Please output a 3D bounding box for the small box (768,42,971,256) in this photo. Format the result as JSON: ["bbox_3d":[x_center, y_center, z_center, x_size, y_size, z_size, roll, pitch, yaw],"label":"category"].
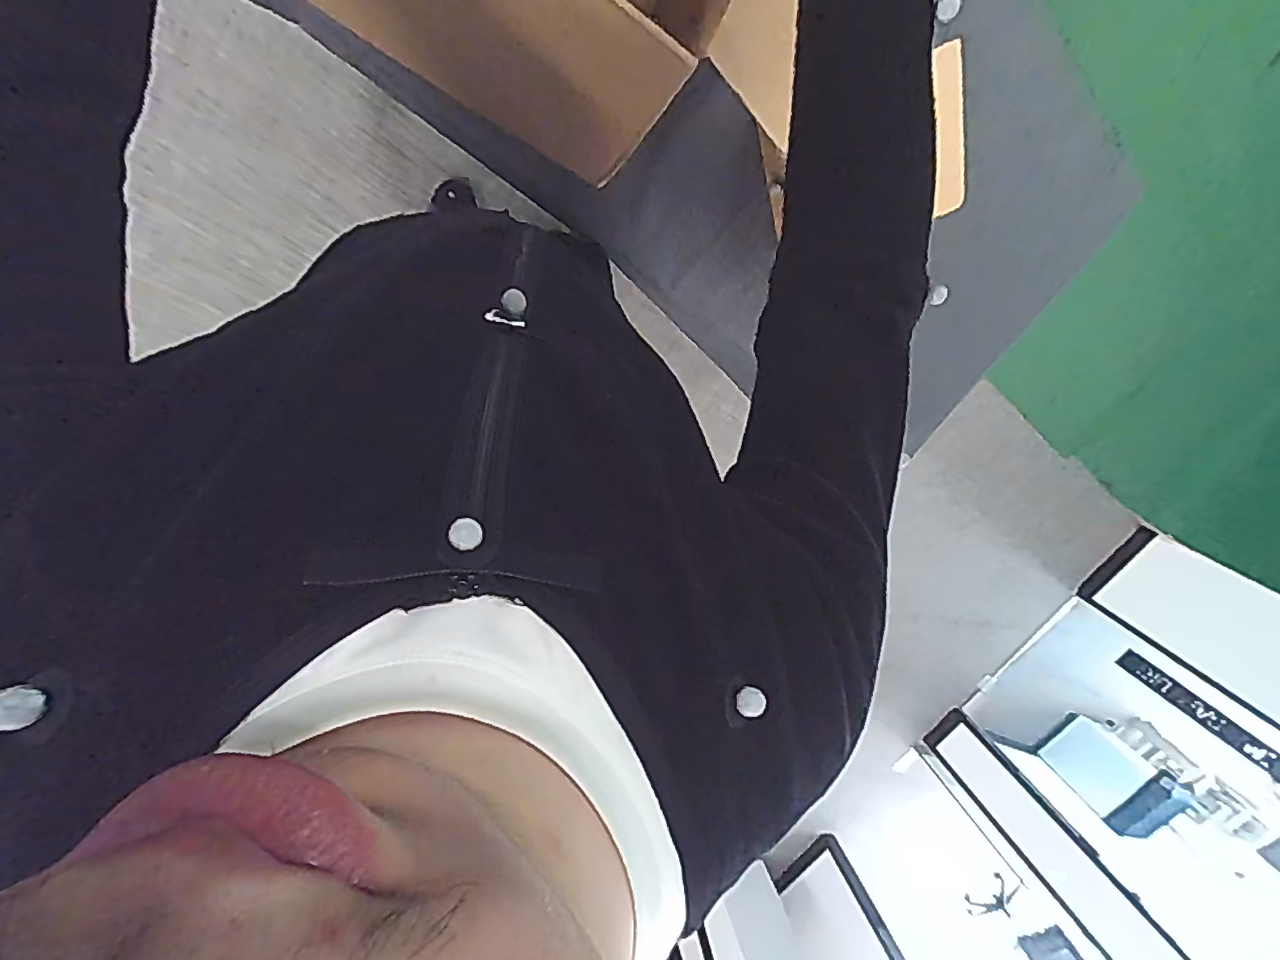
[{"bbox_3d":[0.282,-0.411,0.685,0.168,0.176,0.179,-23,124,-2],"label":"small box"}]
